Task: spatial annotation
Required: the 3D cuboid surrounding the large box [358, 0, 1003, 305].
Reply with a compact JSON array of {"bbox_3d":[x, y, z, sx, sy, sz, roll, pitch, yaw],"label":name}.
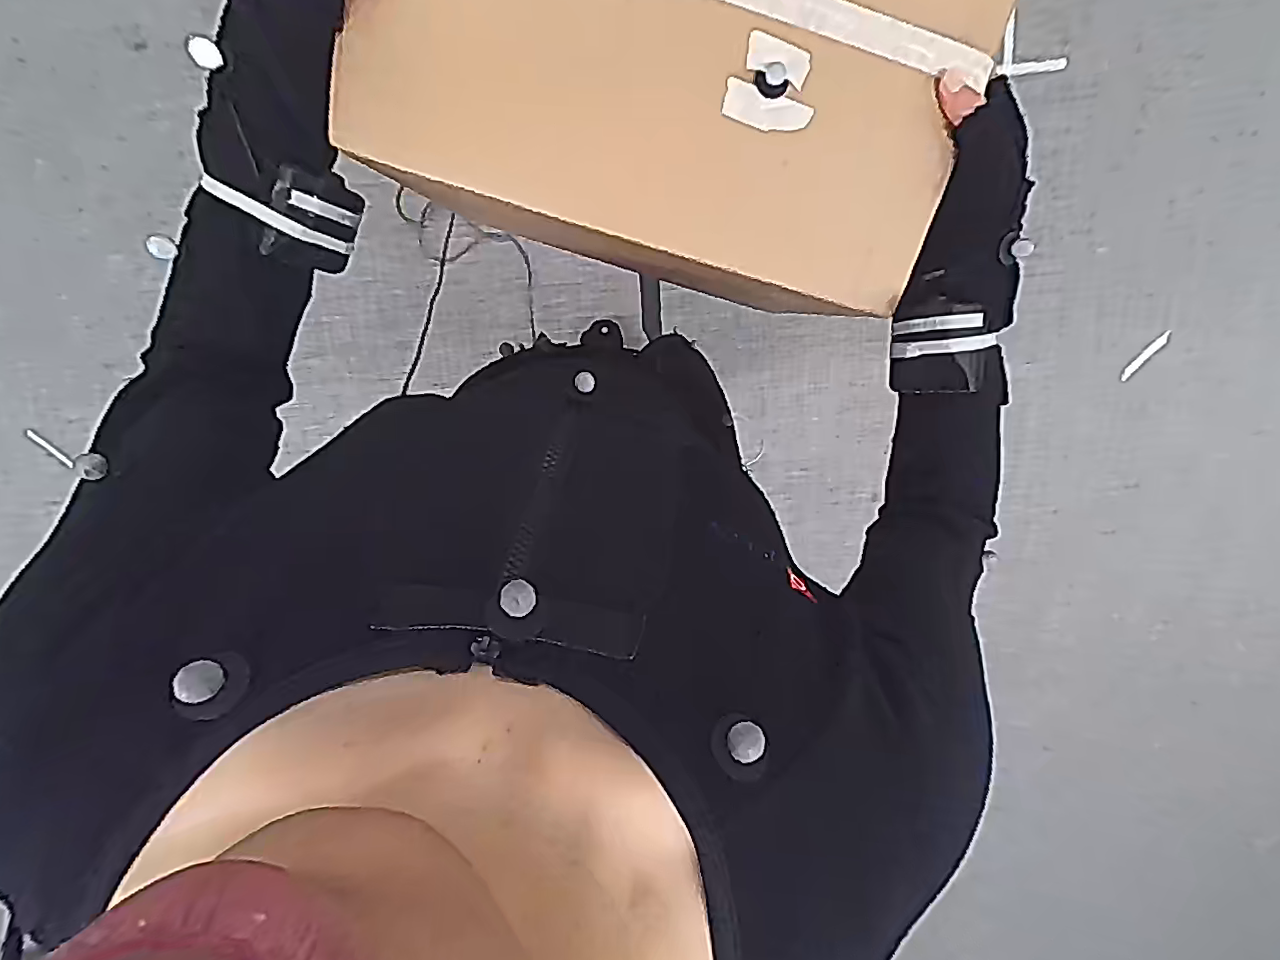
[{"bbox_3d":[0.029,-0.366,0.488,0.408,0.320,0.320,14,107,-7],"label":"large box"}]
